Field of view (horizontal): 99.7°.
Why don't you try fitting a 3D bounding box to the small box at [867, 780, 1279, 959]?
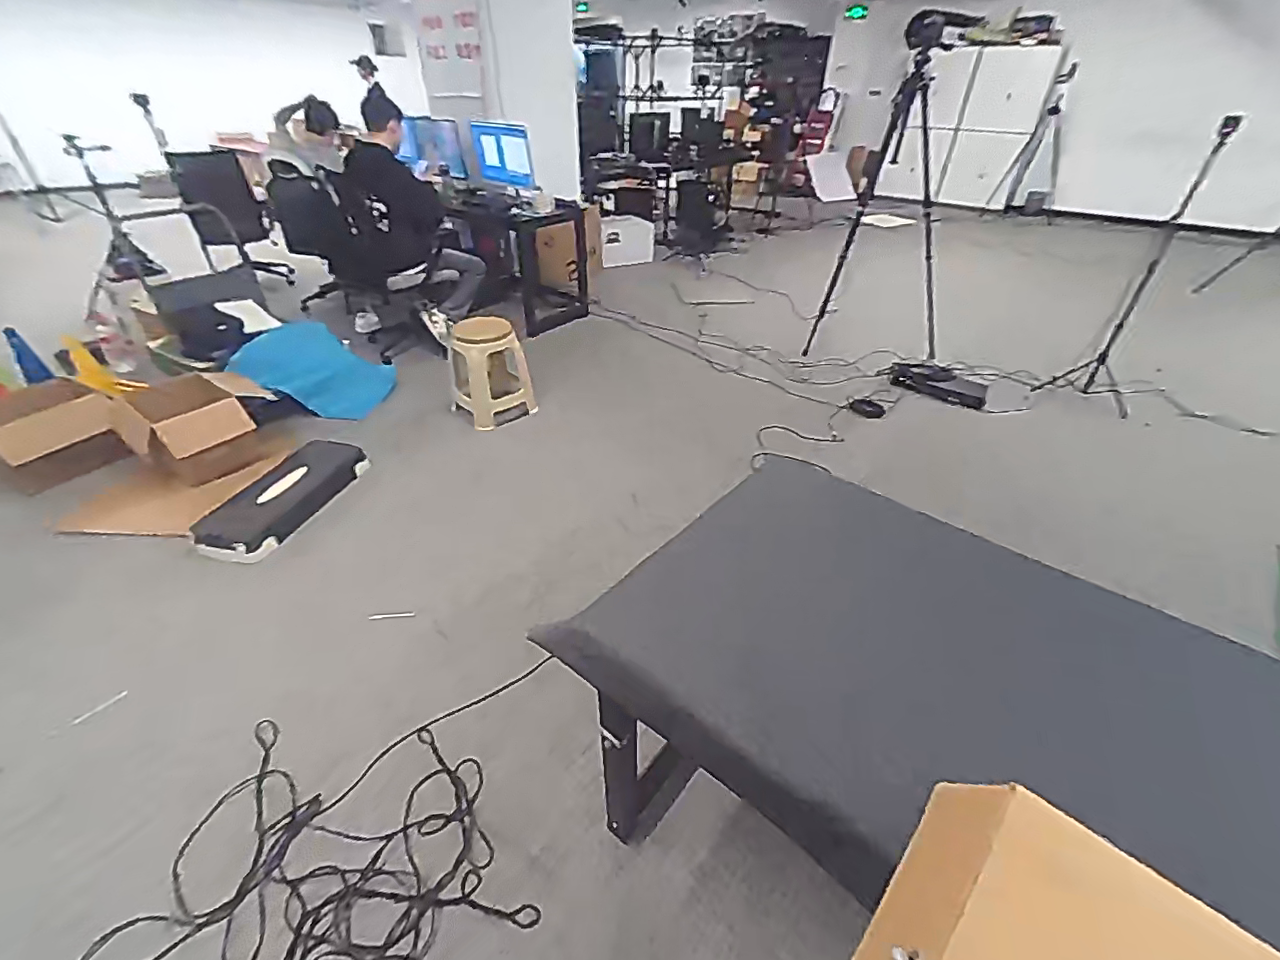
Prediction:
[{"bbox_3d":[0.281,0.338,0.378,0.168,0.176,0.179,30,73,23],"label":"small box"}]
